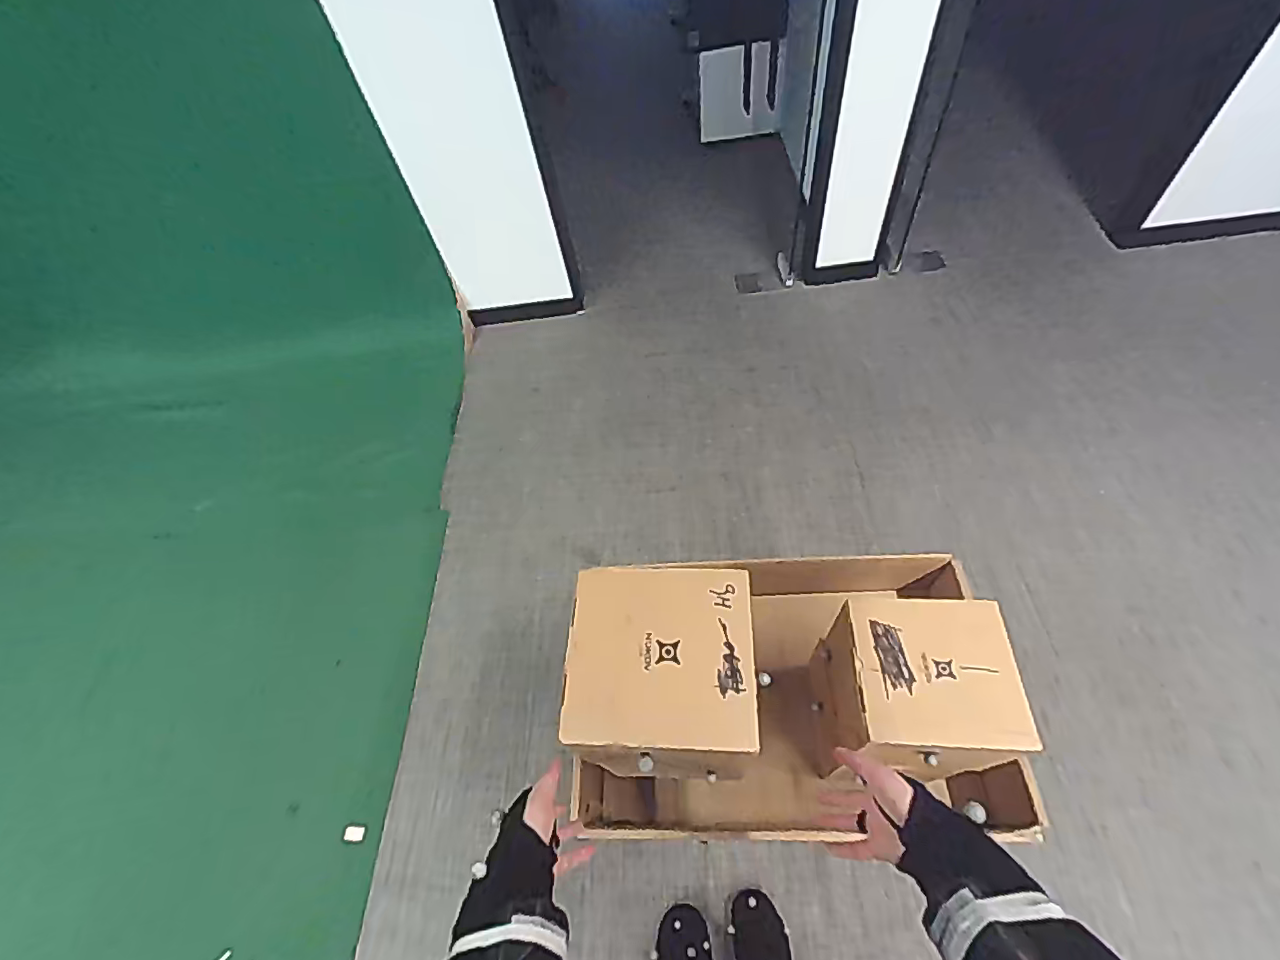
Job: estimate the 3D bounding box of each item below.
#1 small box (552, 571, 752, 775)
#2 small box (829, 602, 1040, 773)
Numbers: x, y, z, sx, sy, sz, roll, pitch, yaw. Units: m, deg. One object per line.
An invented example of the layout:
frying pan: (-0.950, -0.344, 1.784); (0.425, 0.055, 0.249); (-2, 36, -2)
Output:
small box: (0.024, 0.206, 0.567); (0.179, 0.176, 0.168); (-1, 56, 8)
small box: (0.342, 0.262, 0.675); (0.179, 0.176, 0.168); (0, 56, 7)
